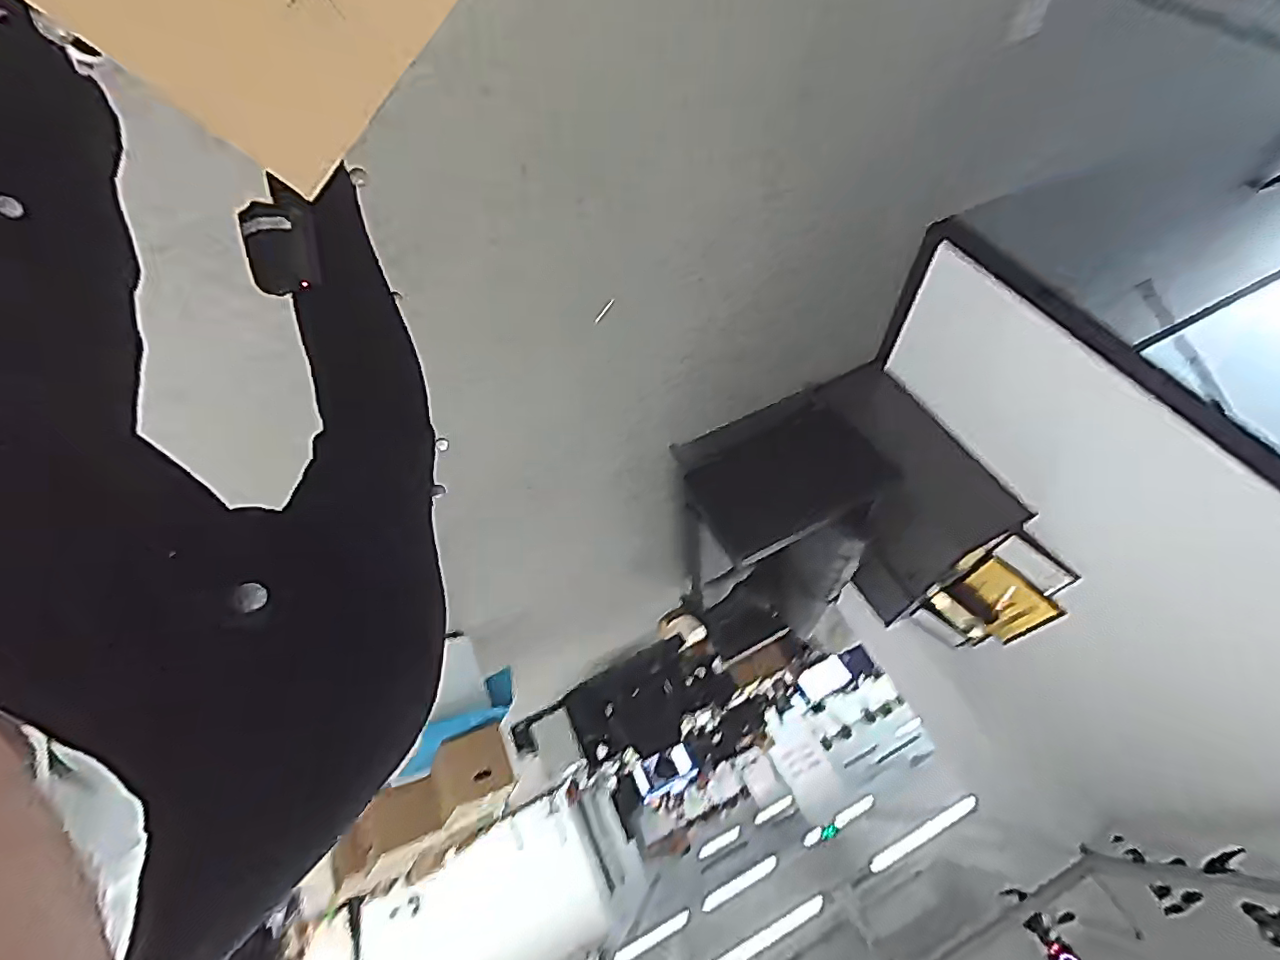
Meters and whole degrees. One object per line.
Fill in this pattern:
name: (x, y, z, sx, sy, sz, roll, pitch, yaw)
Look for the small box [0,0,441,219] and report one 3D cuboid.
small box: (-0.194, -0.249, 0.204, 0.168, 0.176, 0.179, -43, 146, 11)
